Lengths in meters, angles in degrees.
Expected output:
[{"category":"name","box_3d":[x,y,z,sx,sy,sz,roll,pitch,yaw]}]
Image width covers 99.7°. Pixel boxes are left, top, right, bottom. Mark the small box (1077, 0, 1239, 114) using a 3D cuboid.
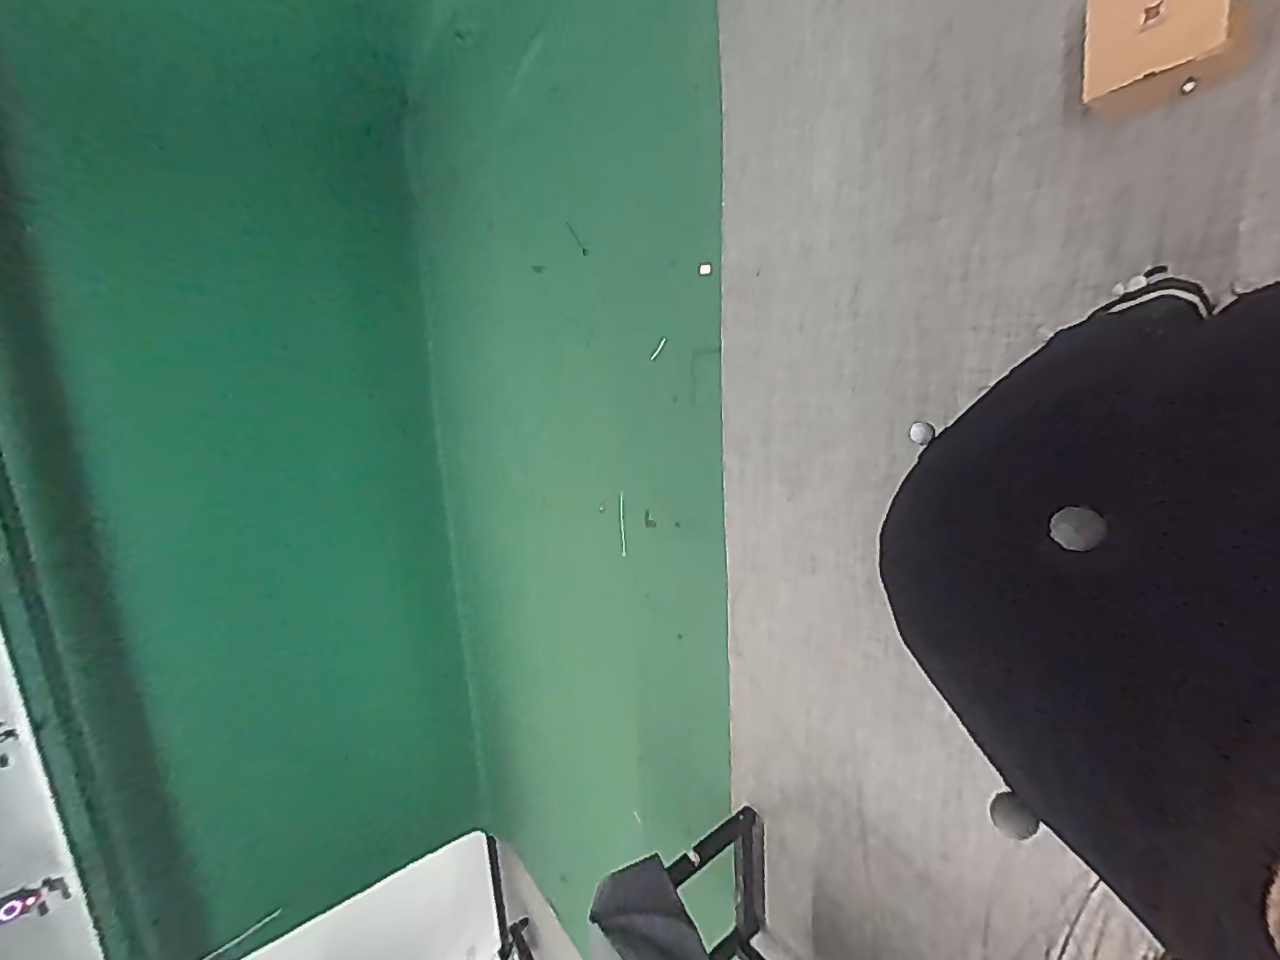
[{"category":"small box","box_3d":[0.832,-0.722,0.868,0.168,0.176,0.179,6,103,51]}]
